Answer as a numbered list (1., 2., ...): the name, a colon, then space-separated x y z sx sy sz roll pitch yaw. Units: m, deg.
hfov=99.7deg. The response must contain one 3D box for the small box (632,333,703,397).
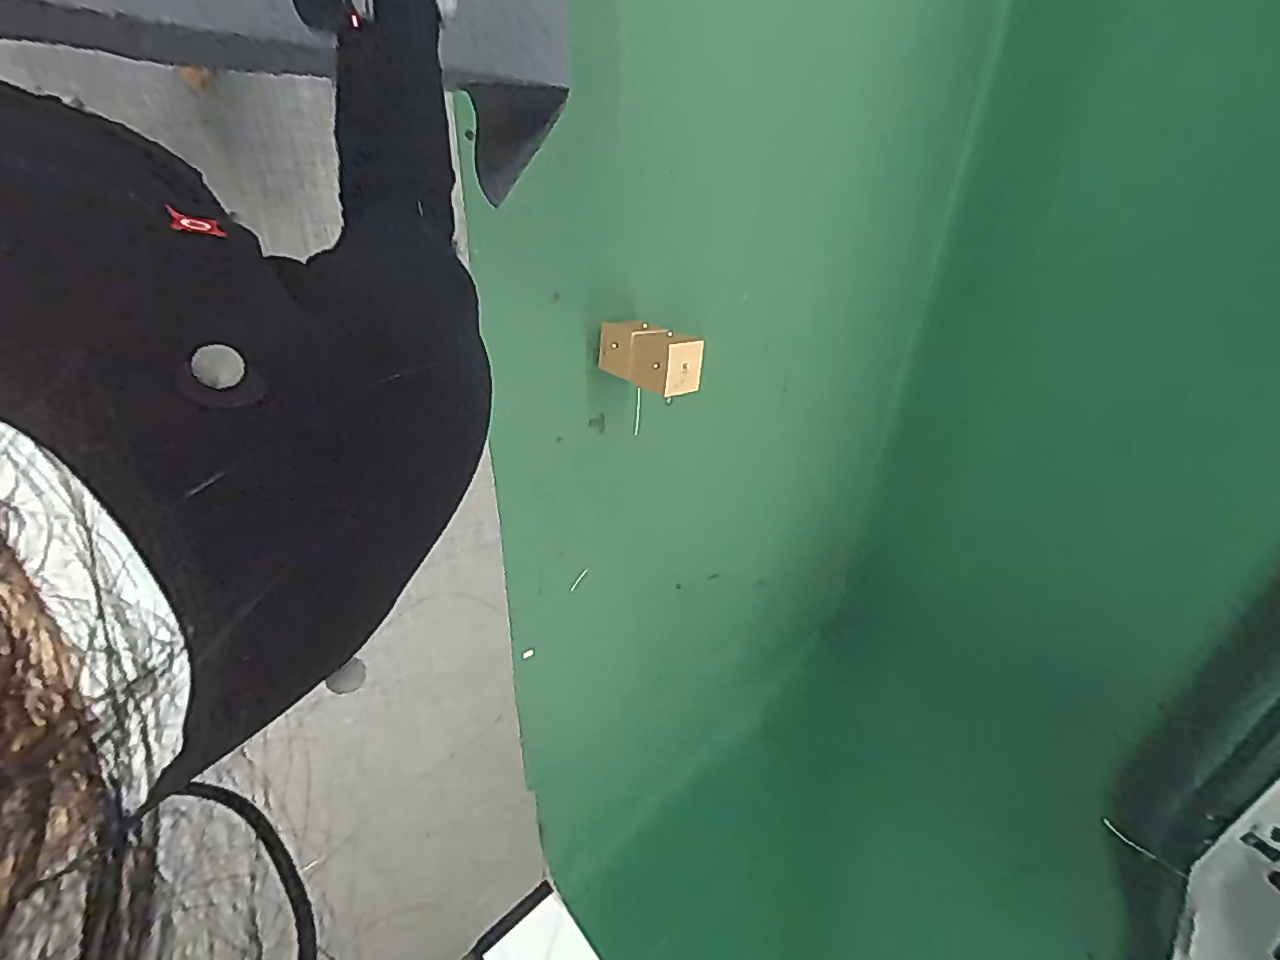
1. small box: 0.088 -0.395 1.821 0.168 0.176 0.179 -18 125 -39

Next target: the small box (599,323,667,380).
1. small box: -0.029 -0.460 1.916 0.179 0.176 0.168 -17 123 -40
